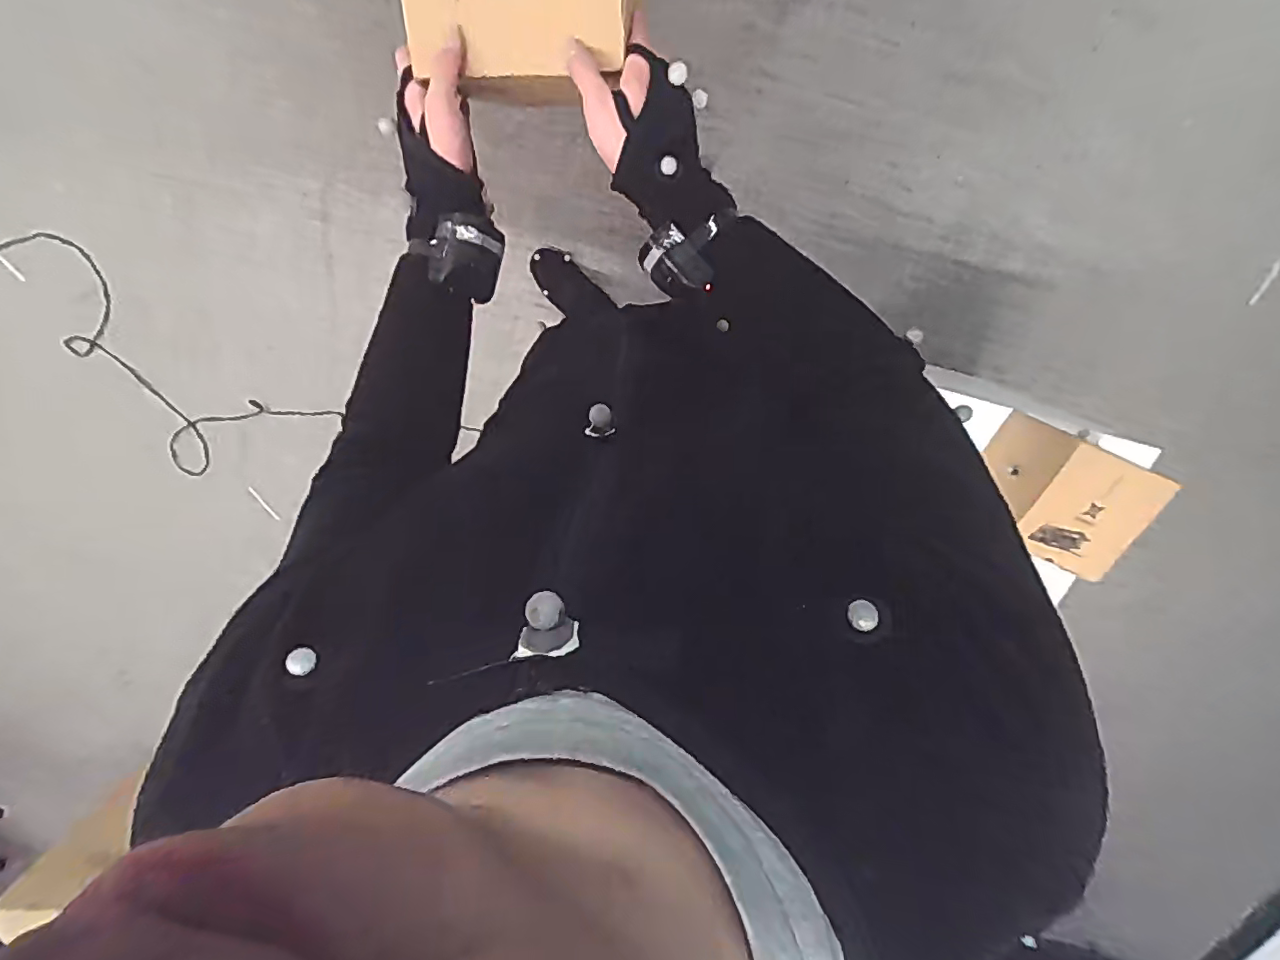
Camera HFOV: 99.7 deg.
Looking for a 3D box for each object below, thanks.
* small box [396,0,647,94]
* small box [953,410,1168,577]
[{"bbox_3d":[-0.085,-0.429,0.438,0.179,0.176,0.168,2,116,6],"label":"small box"},{"bbox_3d":[0.633,0.014,0.847,0.168,0.176,0.179,22,111,-7],"label":"small box"}]
